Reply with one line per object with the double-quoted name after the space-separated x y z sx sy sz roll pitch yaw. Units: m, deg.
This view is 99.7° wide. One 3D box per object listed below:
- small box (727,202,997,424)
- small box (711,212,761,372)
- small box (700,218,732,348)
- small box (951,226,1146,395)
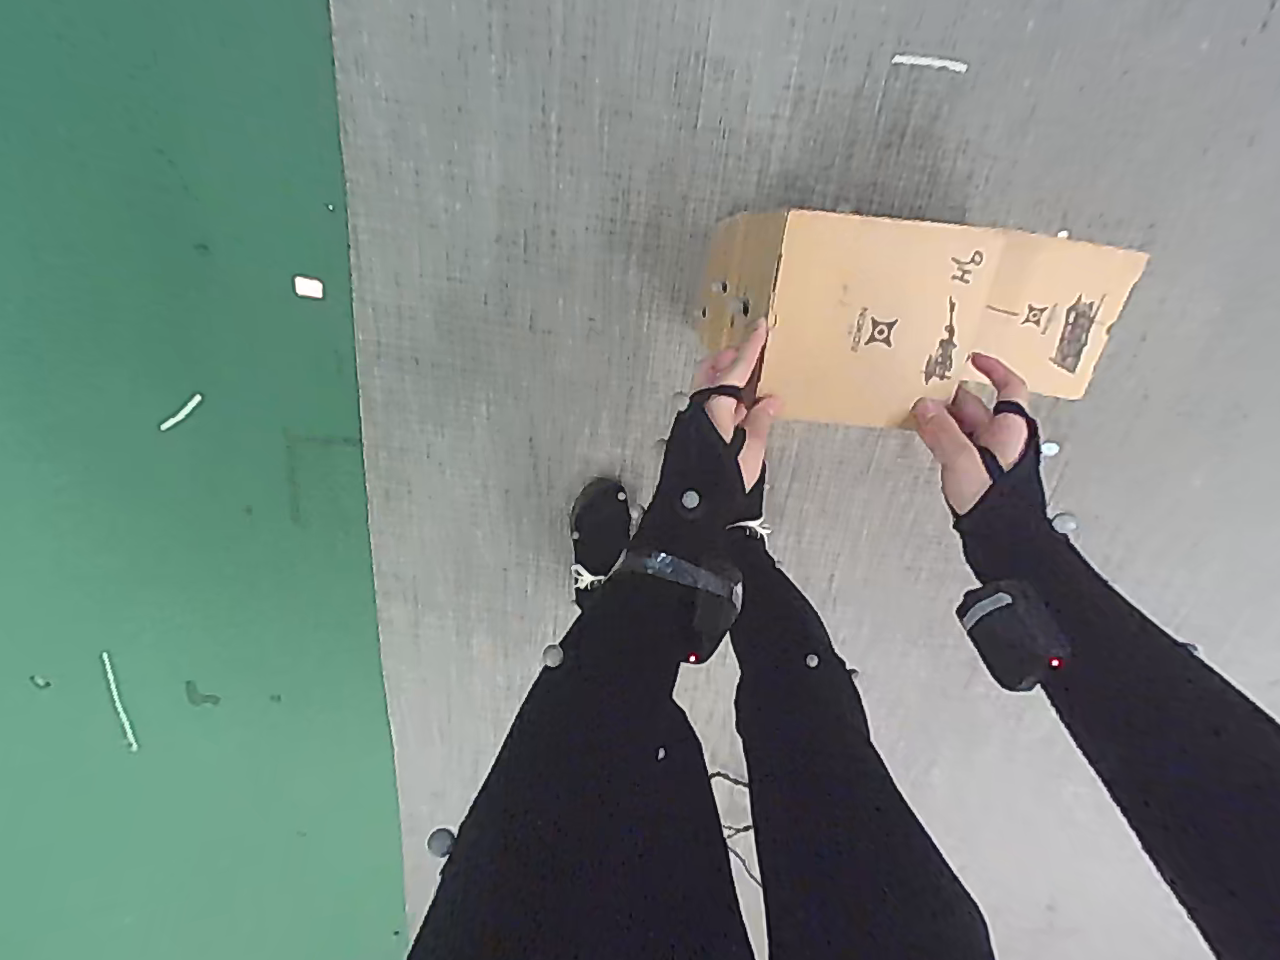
0.186 -0.163 0.521 0.179 0.176 0.168 5 114 -1 "small box"
0.185 -0.234 0.693 0.168 0.176 0.179 6 112 0 "small box"
0.189 -0.297 0.842 0.168 0.176 0.179 8 113 -2 "small box"
0.456 -0.217 0.687 0.179 0.176 0.168 9 112 -1 "small box"
